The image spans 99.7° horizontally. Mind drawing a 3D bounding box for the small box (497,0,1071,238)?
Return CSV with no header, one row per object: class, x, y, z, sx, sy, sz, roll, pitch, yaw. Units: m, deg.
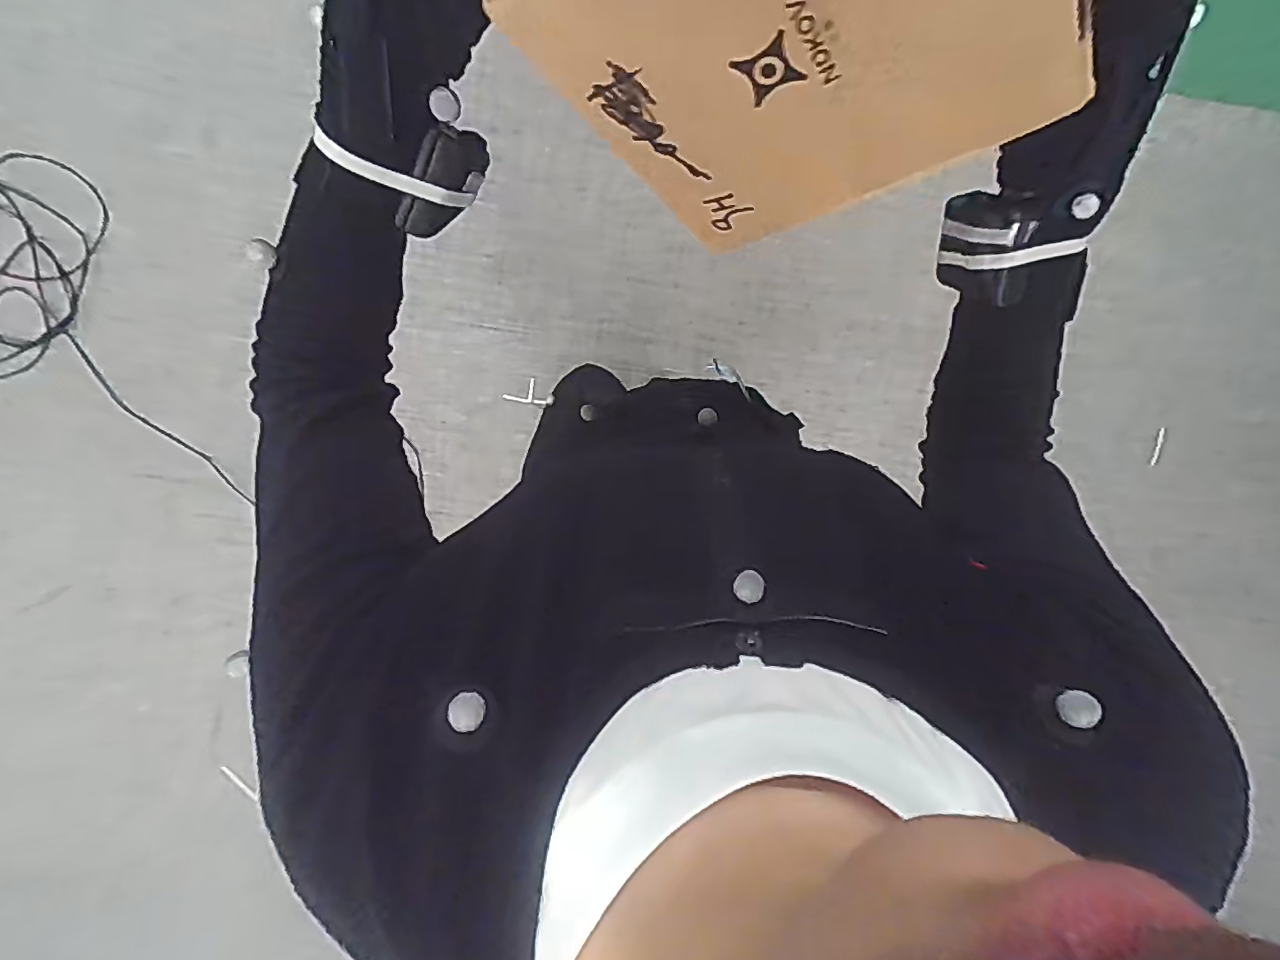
small box,0.066,-0.252,0.236,0.168,0.179,0.176,23,69,-46
